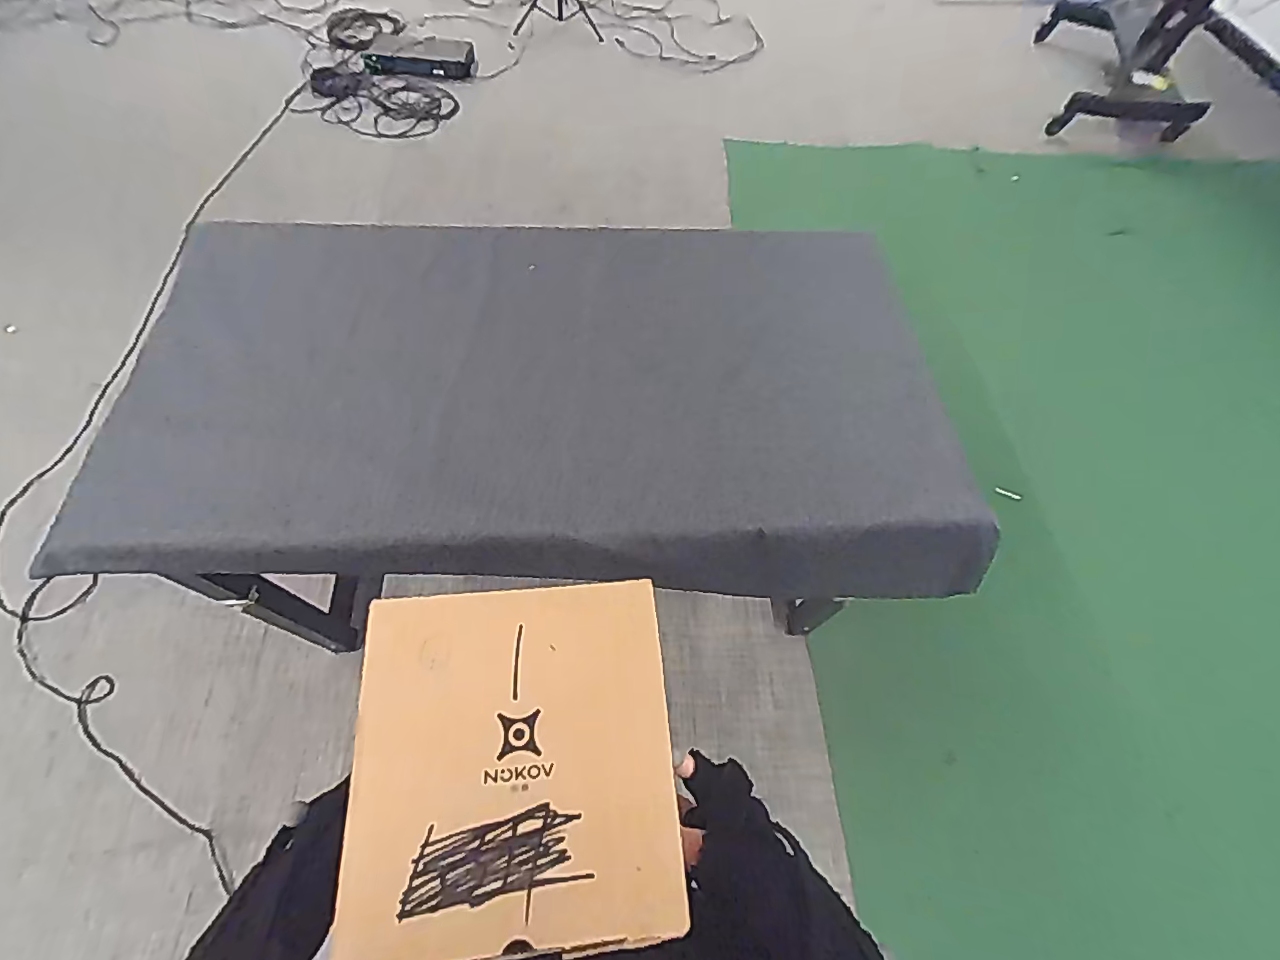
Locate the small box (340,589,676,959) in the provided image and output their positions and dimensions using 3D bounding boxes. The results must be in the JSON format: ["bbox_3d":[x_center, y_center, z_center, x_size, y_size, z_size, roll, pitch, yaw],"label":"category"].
[{"bbox_3d":[-0.073,0.183,0.368,0.168,0.176,0.179,-1,64,-7],"label":"small box"}]
